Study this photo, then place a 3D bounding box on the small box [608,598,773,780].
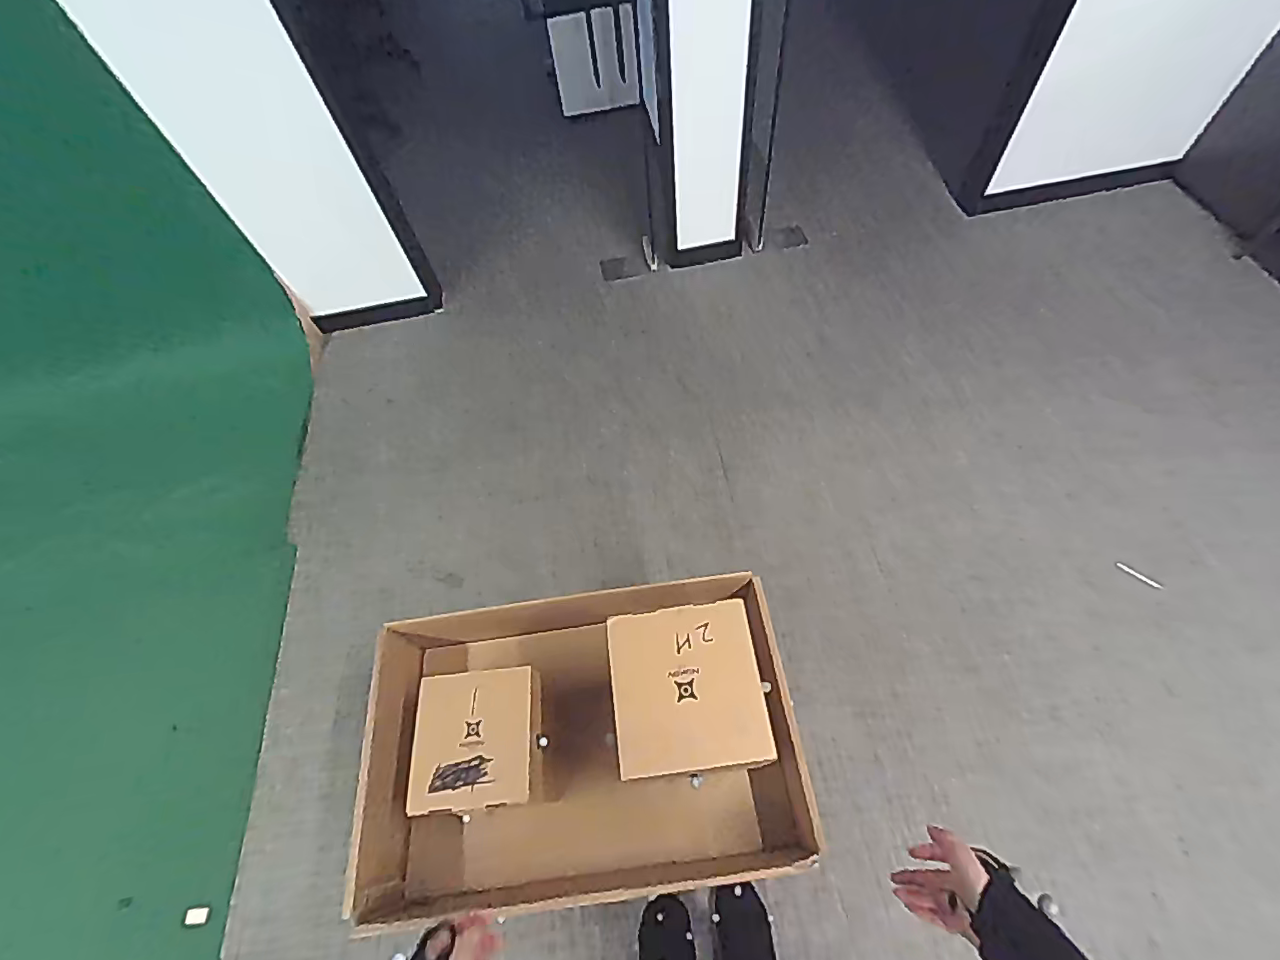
[{"bbox_3d":[0.058,0.263,0.669,0.168,0.176,0.179,-8,60,1],"label":"small box"}]
